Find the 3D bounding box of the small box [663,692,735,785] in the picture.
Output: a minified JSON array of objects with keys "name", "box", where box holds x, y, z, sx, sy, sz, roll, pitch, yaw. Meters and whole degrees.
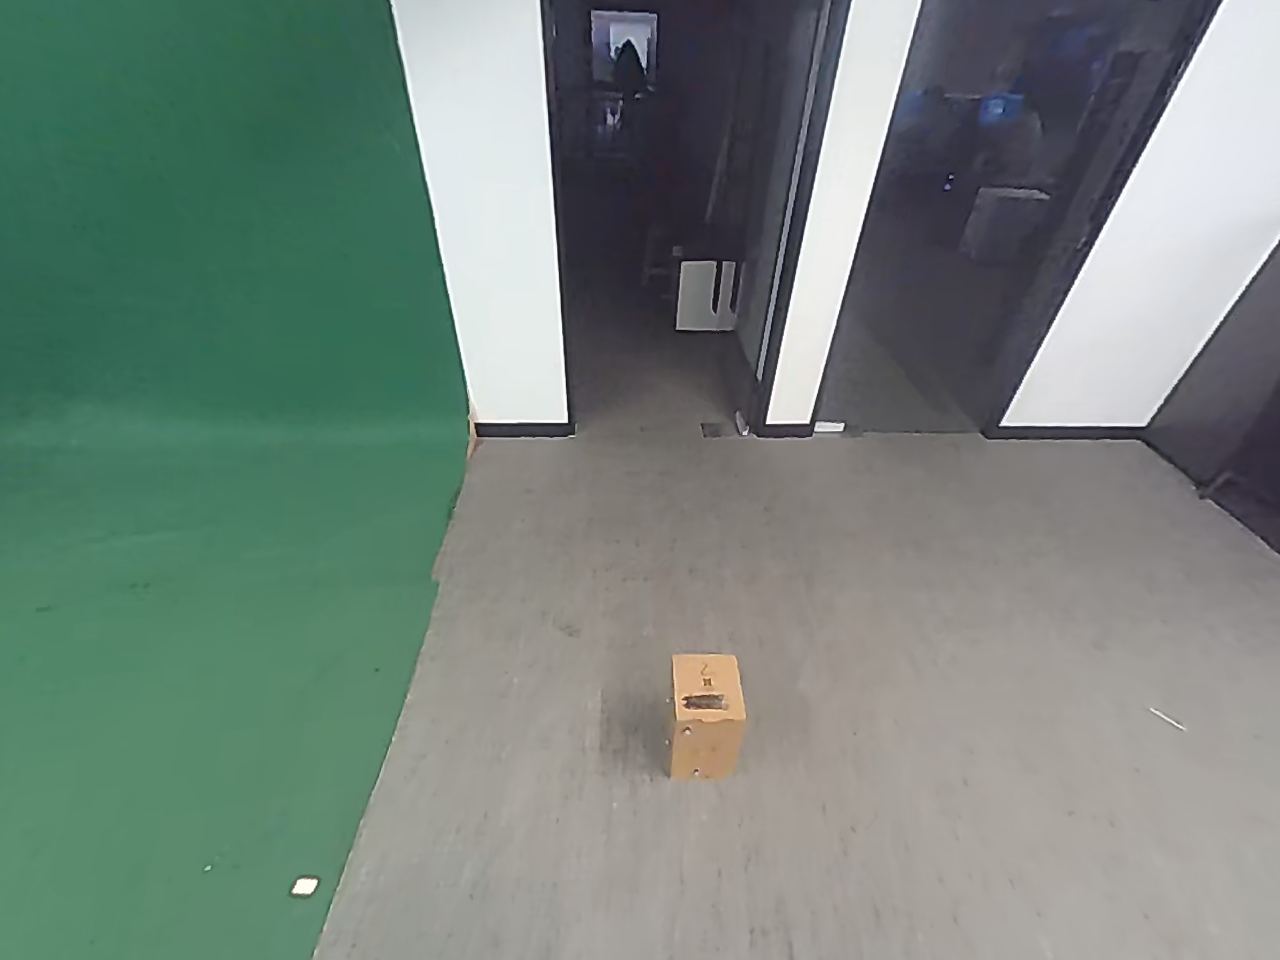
[{"name":"small box","box":[0.152,0.701,1.469,0.168,0.176,0.179,1,39,-2]}]
